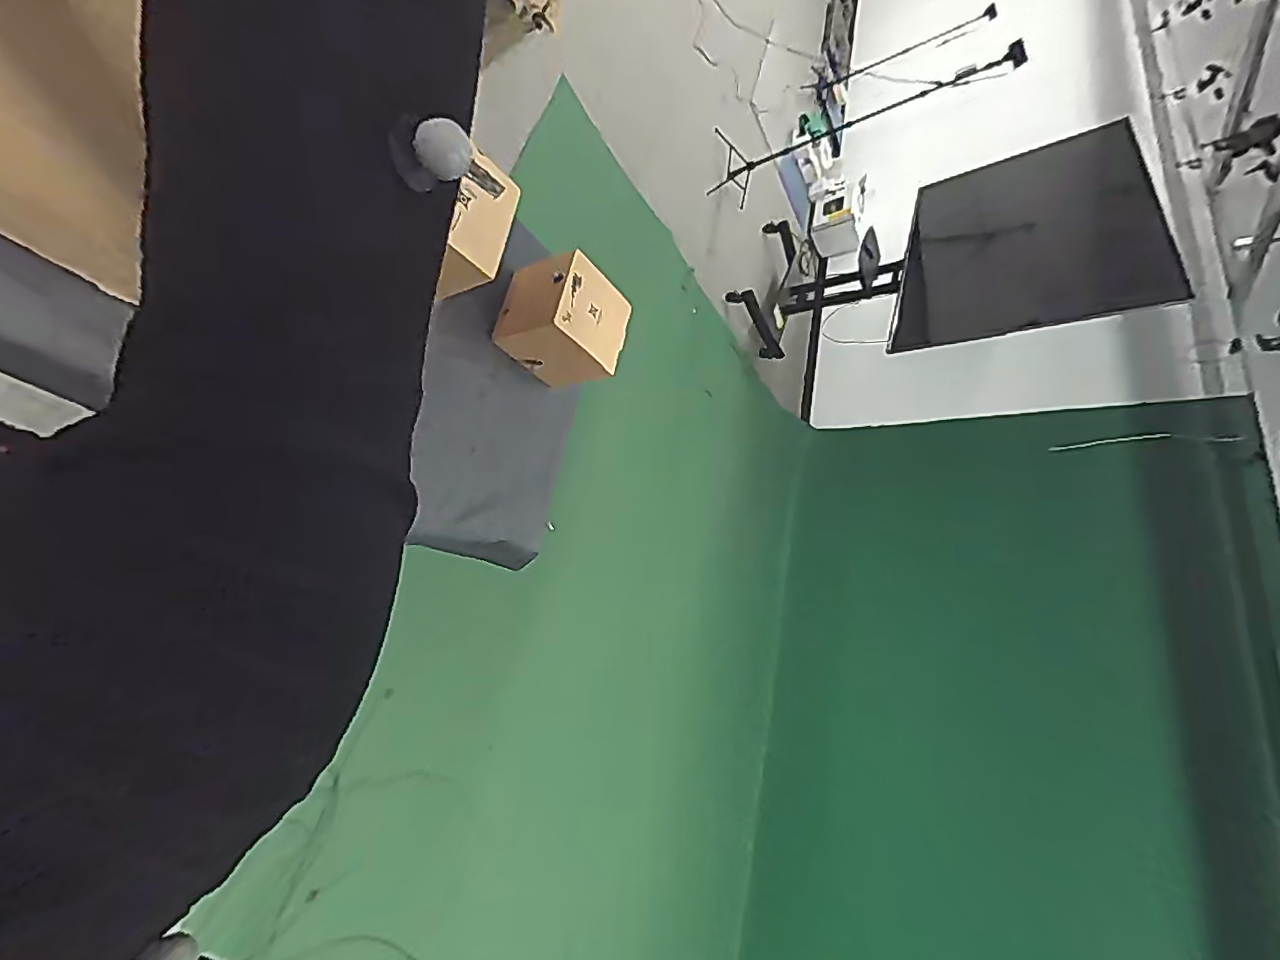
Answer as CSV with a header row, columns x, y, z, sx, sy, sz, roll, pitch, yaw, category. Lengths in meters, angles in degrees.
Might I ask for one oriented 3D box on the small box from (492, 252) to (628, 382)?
x,y,z,sx,sy,sz,roll,pitch,yaw,category
-0.152,-0.305,1.056,0.179,0.176,0.168,36,59,-48,small box
